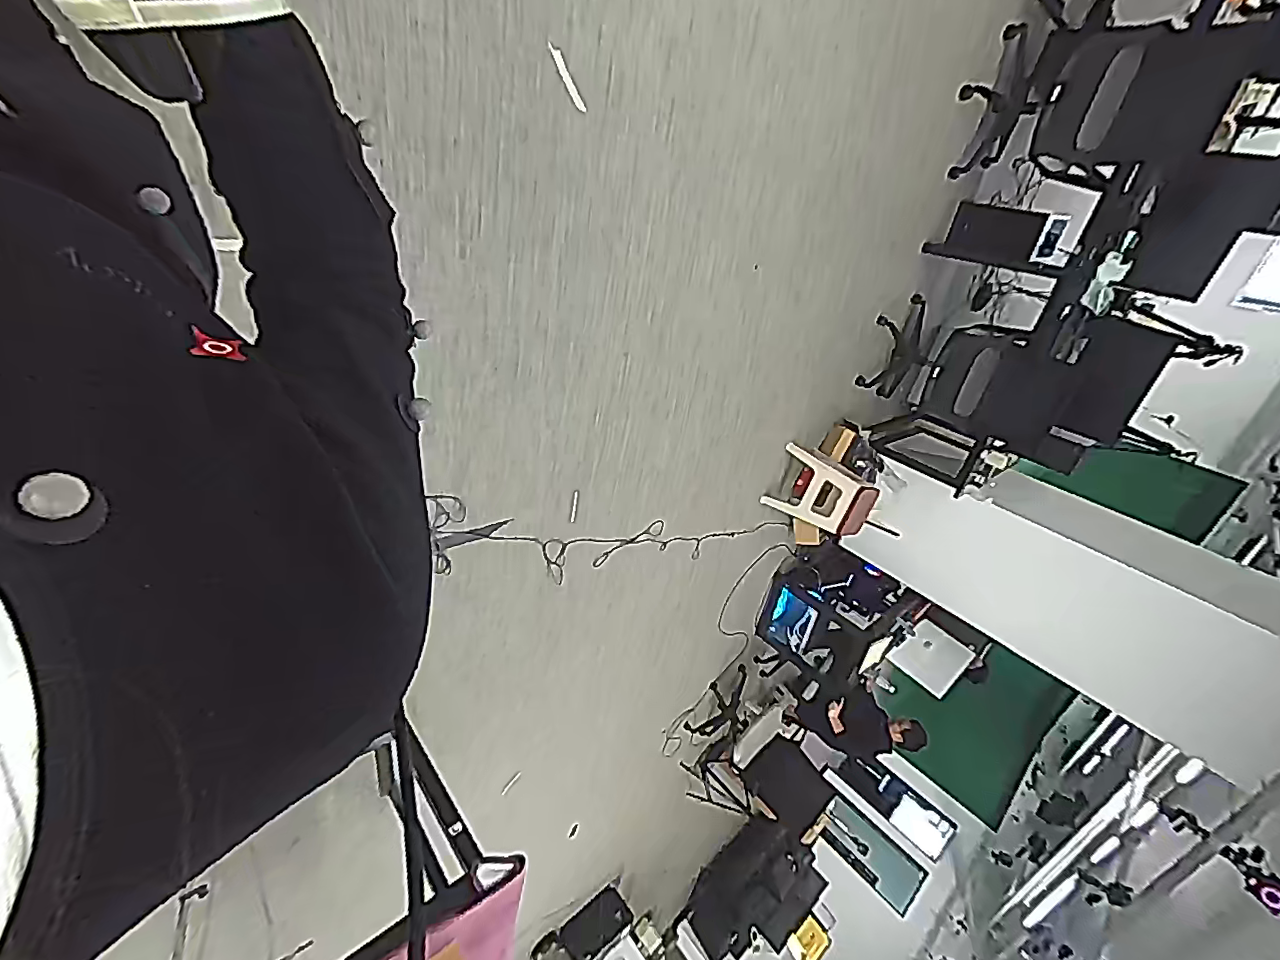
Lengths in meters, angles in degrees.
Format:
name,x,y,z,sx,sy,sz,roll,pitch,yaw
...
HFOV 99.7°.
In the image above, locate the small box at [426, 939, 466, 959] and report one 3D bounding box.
name,x,y,z,sx,sy,sz,roll,pitch,yaw
small box,-0.513,1.352,1.400,0.168,0.176,0.179,-23,132,-35
